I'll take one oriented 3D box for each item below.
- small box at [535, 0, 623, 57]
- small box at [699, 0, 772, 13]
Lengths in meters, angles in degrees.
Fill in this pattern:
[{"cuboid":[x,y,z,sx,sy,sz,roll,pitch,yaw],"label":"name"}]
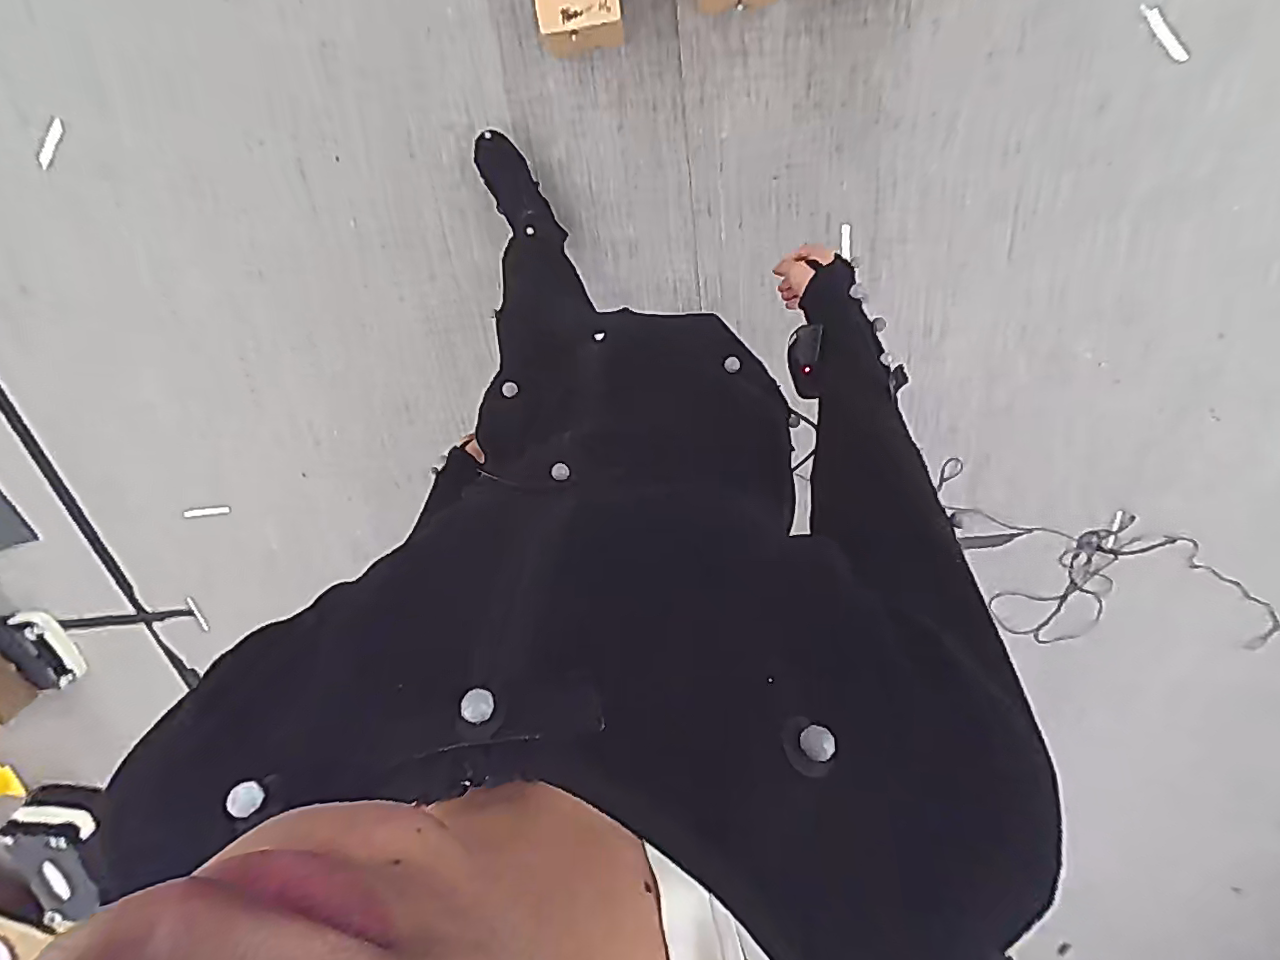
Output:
[{"cuboid":[-0.129,-1.005,1.103,0.168,0.176,0.179,-7,114,4],"label":"small box"},{"cuboid":[0.201,-1.072,1.070,0.168,0.176,0.179,-6,116,3],"label":"small box"}]
